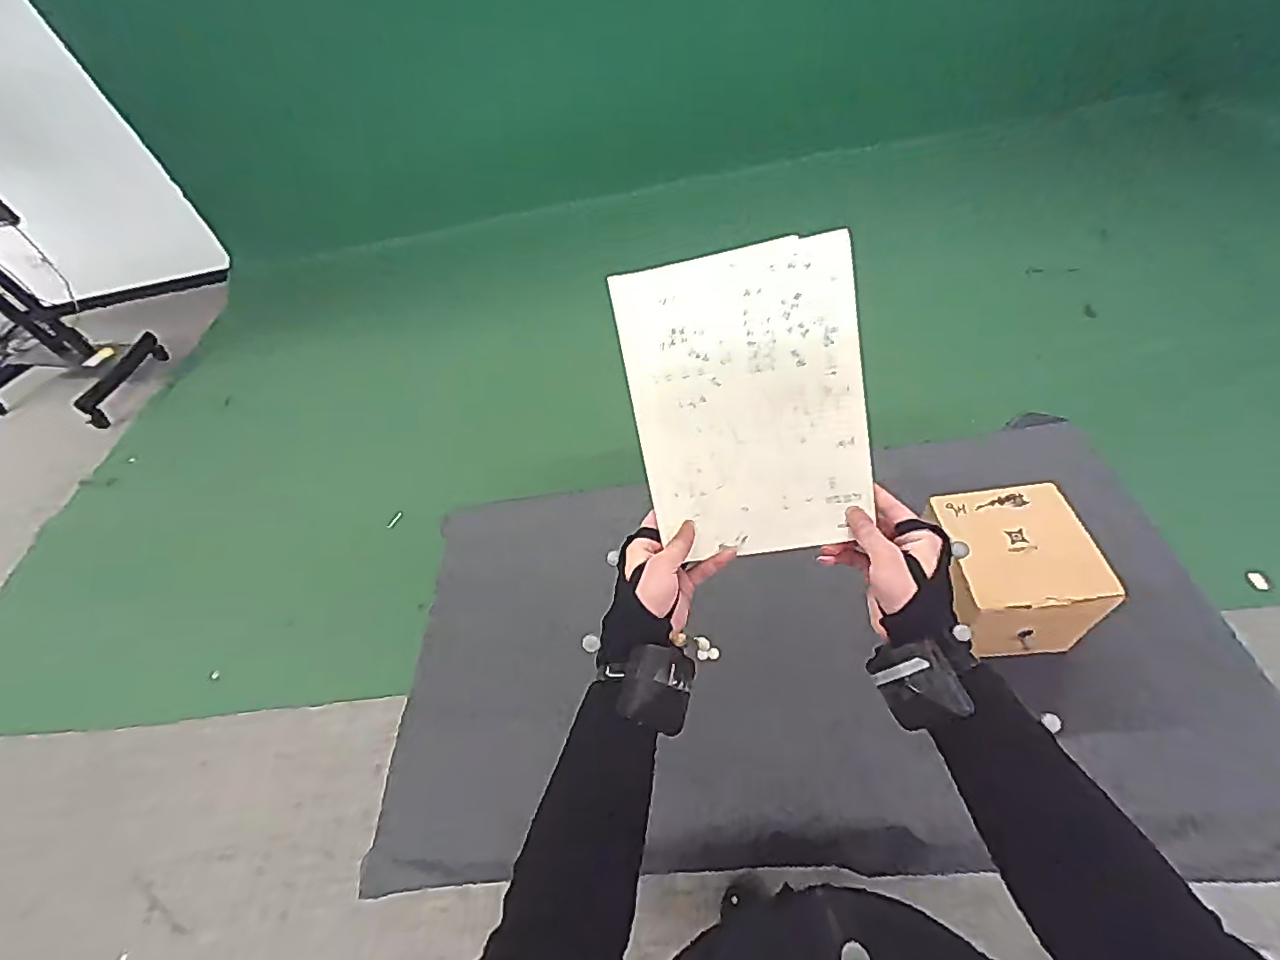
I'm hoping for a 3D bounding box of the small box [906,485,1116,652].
[{"bbox_3d":[0.500,0.133,0.765,0.168,0.176,0.179,-7,52,7],"label":"small box"}]
